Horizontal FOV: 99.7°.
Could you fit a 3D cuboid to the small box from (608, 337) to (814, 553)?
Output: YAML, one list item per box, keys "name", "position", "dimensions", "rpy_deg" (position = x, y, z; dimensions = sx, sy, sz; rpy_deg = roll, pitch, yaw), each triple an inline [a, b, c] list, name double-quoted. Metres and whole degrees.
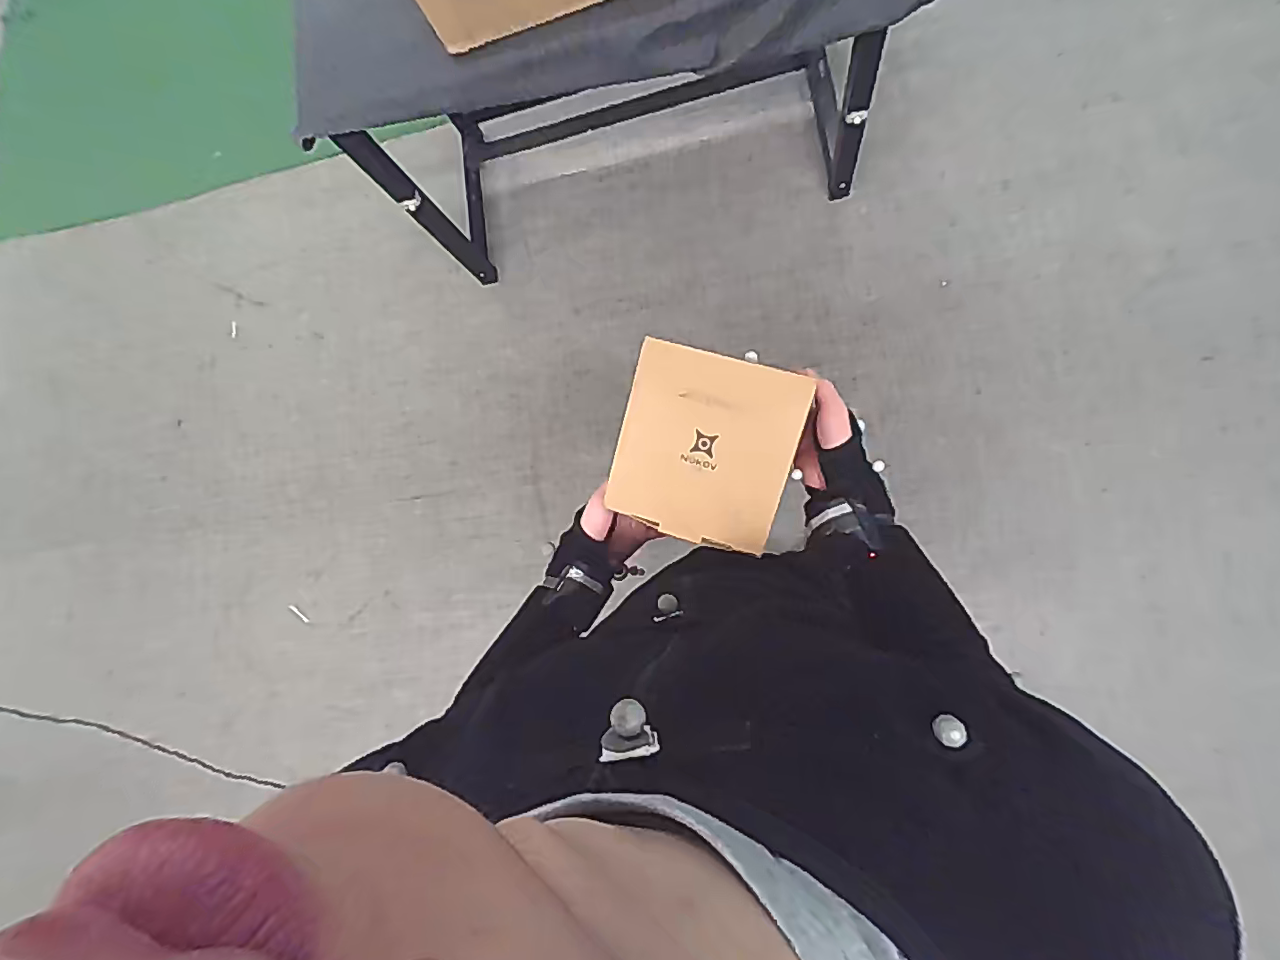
- name: "small box"
  position: [0.080, -0.044, 0.594]
  dimensions: [0.168, 0.176, 0.179]
  rpy_deg: [16, 100, 10]
